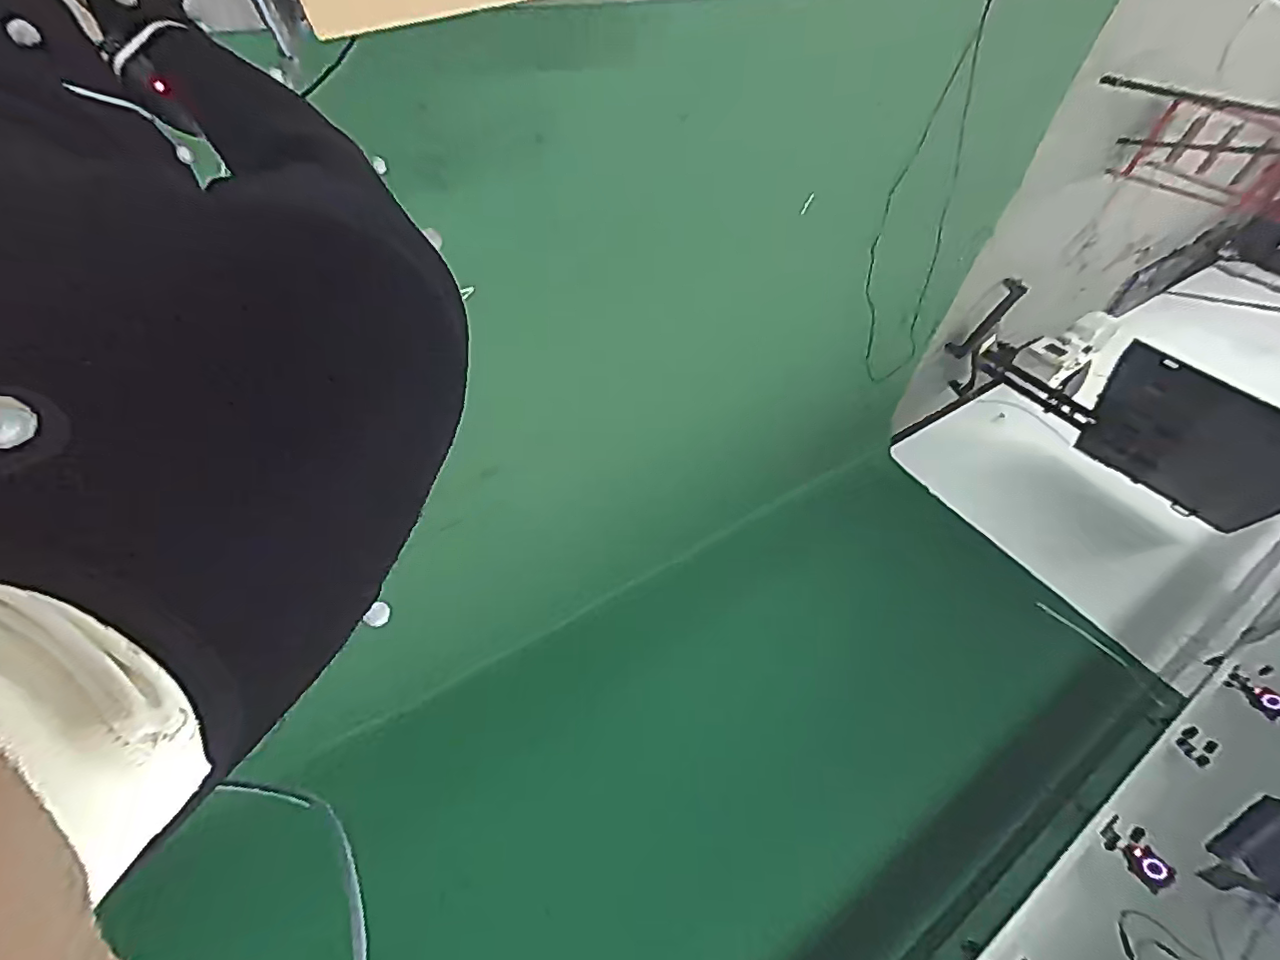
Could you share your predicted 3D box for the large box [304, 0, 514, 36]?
[{"bbox_3d":[-0.367,-0.926,0.806,0.408,0.320,0.320,-21,145,-12],"label":"large box"}]
